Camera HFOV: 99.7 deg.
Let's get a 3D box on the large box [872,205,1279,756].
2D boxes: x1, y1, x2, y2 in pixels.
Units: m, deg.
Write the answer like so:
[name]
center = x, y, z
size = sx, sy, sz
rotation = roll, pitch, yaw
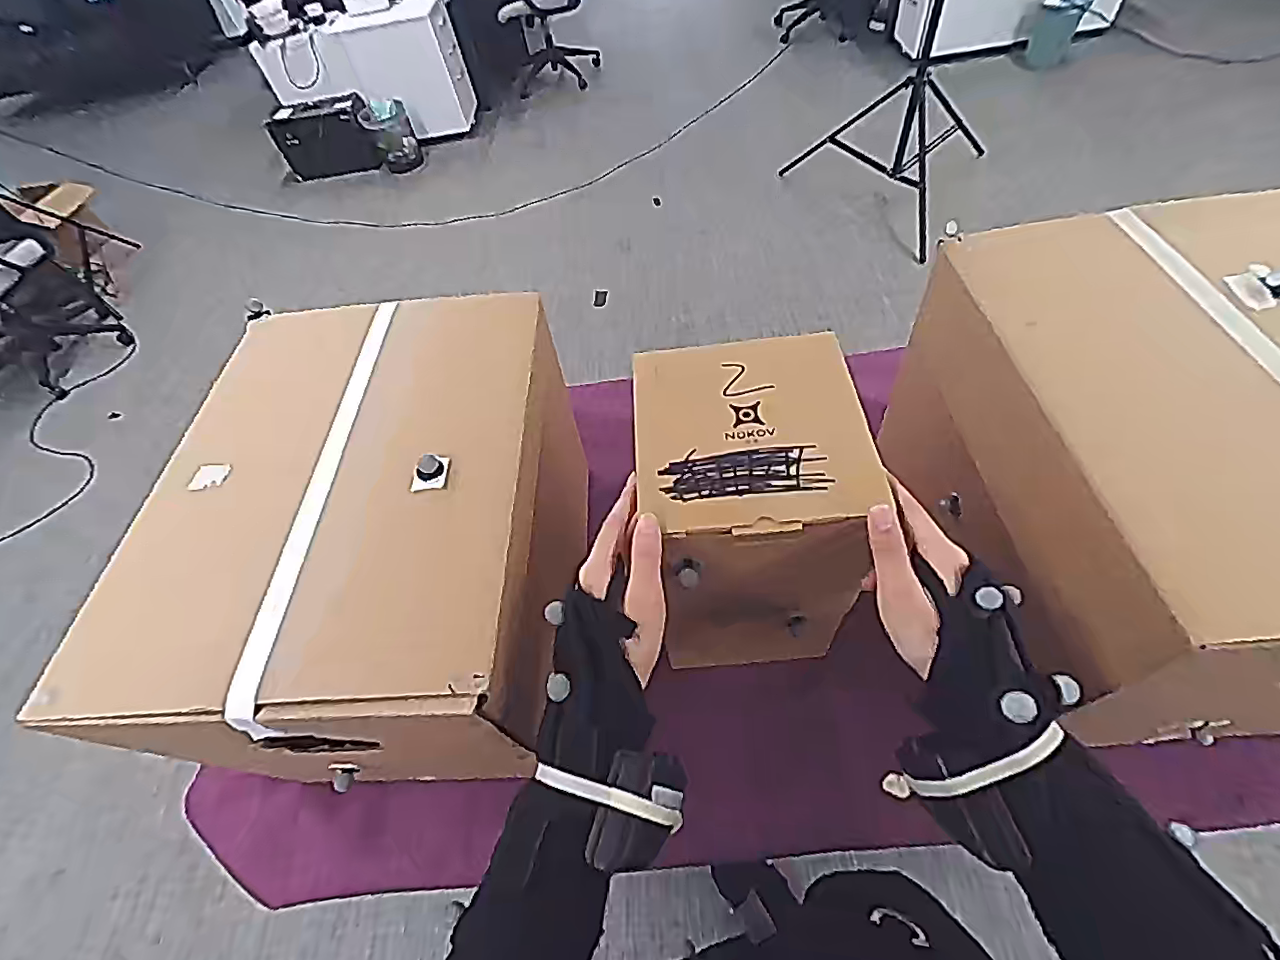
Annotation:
[large box]
center = 0.460, 0.008, 0.517
size = 0.320, 0.320, 0.408
rotation = -6, 53, 5
